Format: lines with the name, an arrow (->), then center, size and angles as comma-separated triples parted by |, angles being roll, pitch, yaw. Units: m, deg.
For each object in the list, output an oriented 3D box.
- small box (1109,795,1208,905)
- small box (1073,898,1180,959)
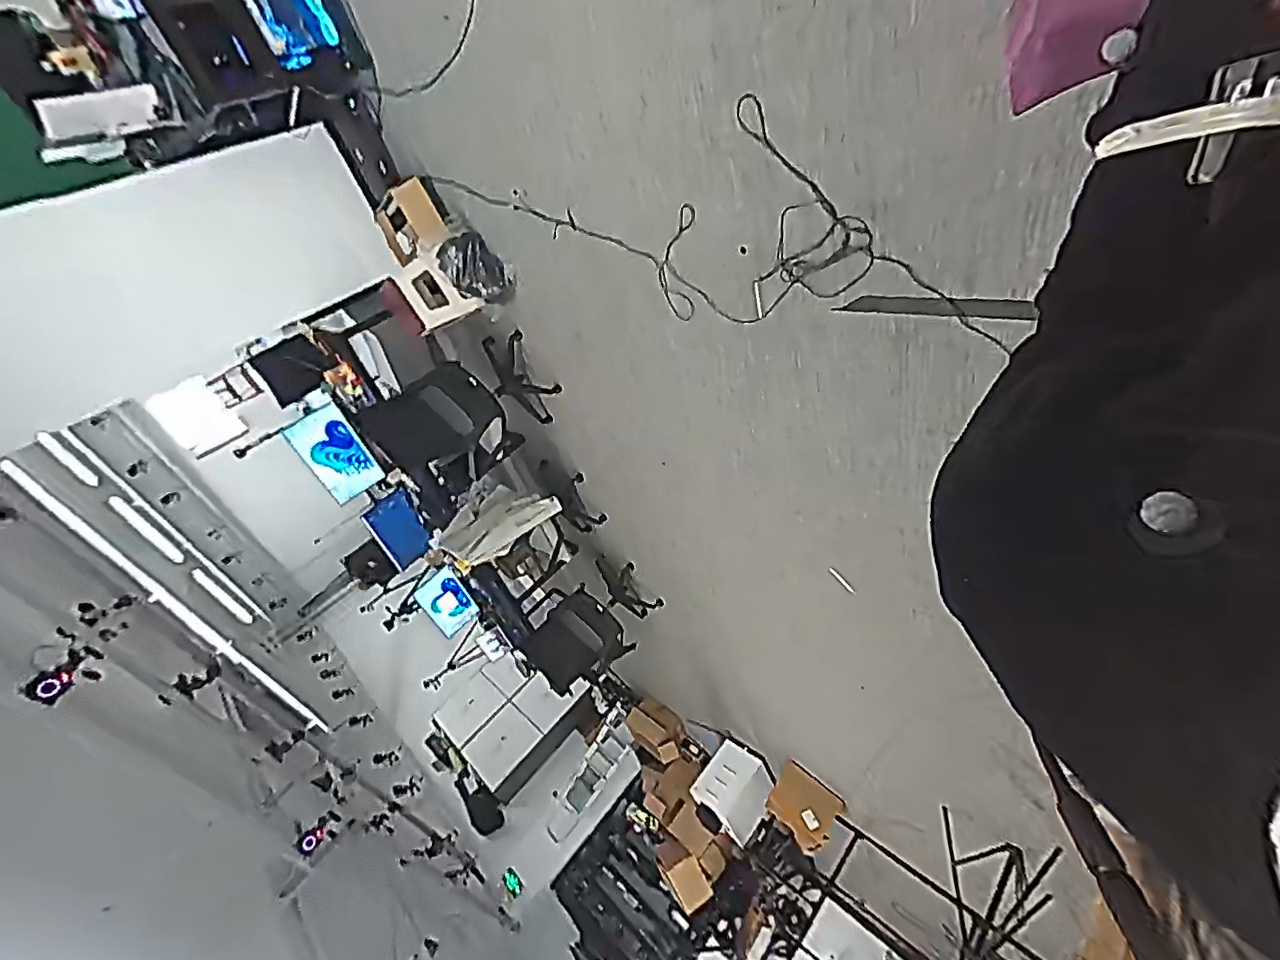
small box -> 1.473, 1.042, 1.537 | 0.168, 0.176, 0.179 | 18, 141, 45
small box -> 1.249, 1.237, 1.393 | 0.168, 0.176, 0.179 | 19, 141, 43
